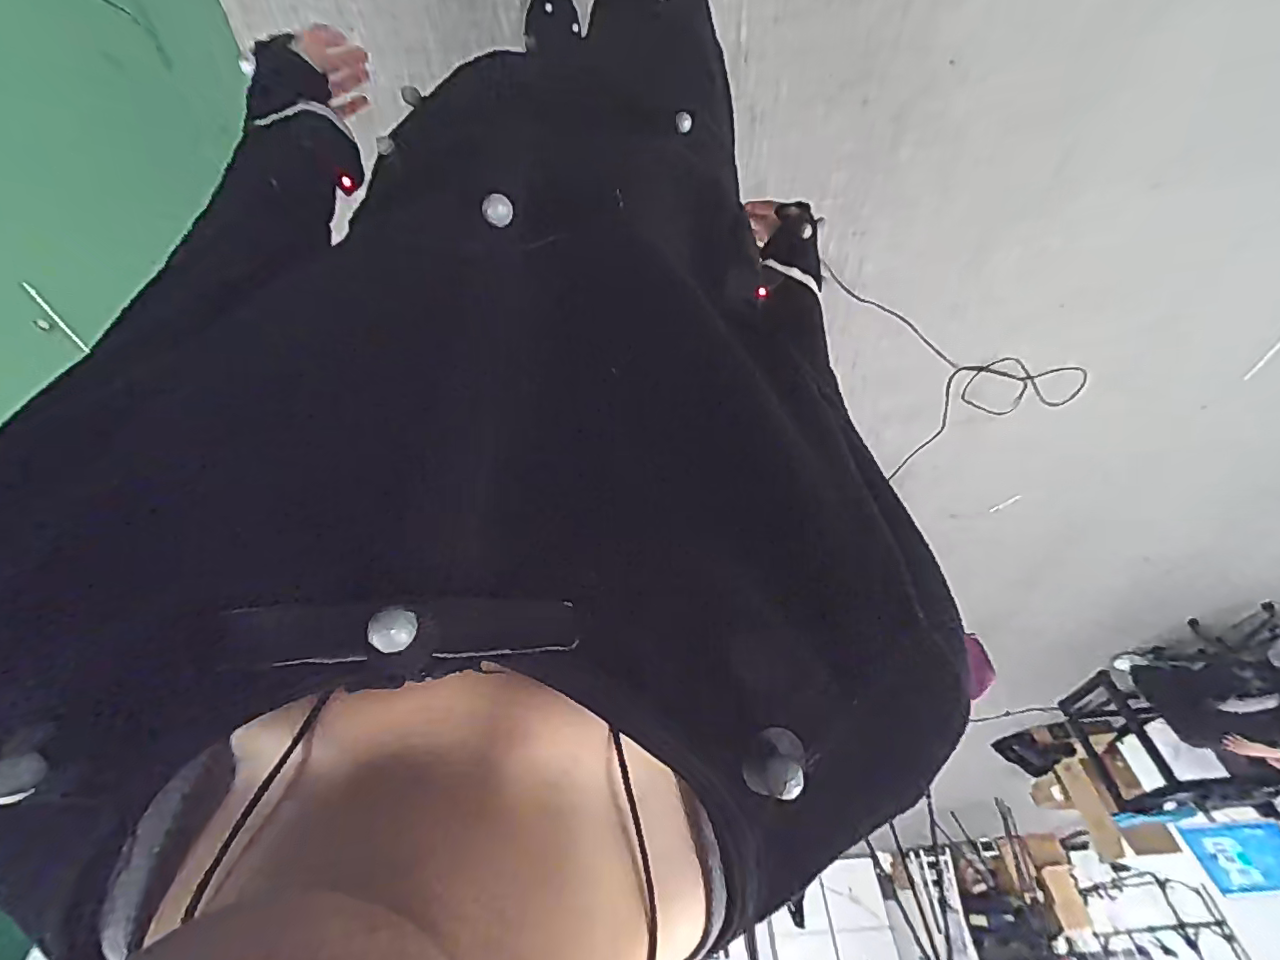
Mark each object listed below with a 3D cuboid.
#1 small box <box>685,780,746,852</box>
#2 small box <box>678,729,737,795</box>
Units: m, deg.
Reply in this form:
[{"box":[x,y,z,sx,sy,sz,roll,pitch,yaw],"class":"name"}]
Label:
[{"box":[0.239,1.096,1.763,0.179,0.176,0.168,-5,138,0],"class":"small box"},{"box":[0.230,0.977,1.877,0.179,0.176,0.168,-5,137,0],"class":"small box"}]
